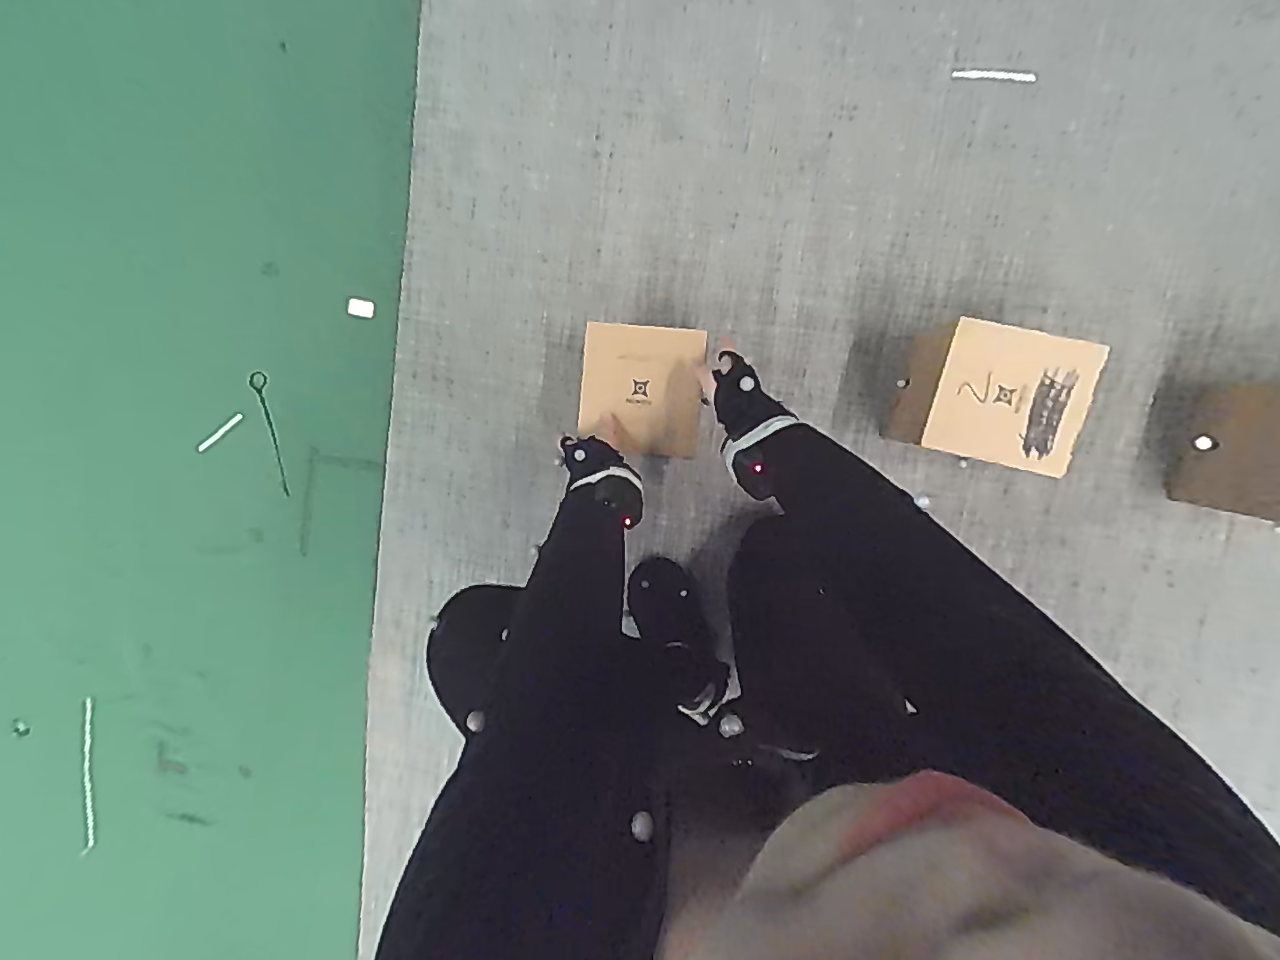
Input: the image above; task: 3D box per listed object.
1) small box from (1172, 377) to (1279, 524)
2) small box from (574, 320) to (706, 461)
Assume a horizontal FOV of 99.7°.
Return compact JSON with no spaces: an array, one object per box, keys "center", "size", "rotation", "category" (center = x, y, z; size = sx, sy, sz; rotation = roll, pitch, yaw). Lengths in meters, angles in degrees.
[{"center":[0.850,-0.030,0.691],"size":[0.168,0.176,0.179],"rotation":[11,99,7],"category":"small box"},{"center":[0.008,-0.131,0.810],"size":[0.168,0.176,0.179],"rotation":[7,97,7],"category":"small box"}]
